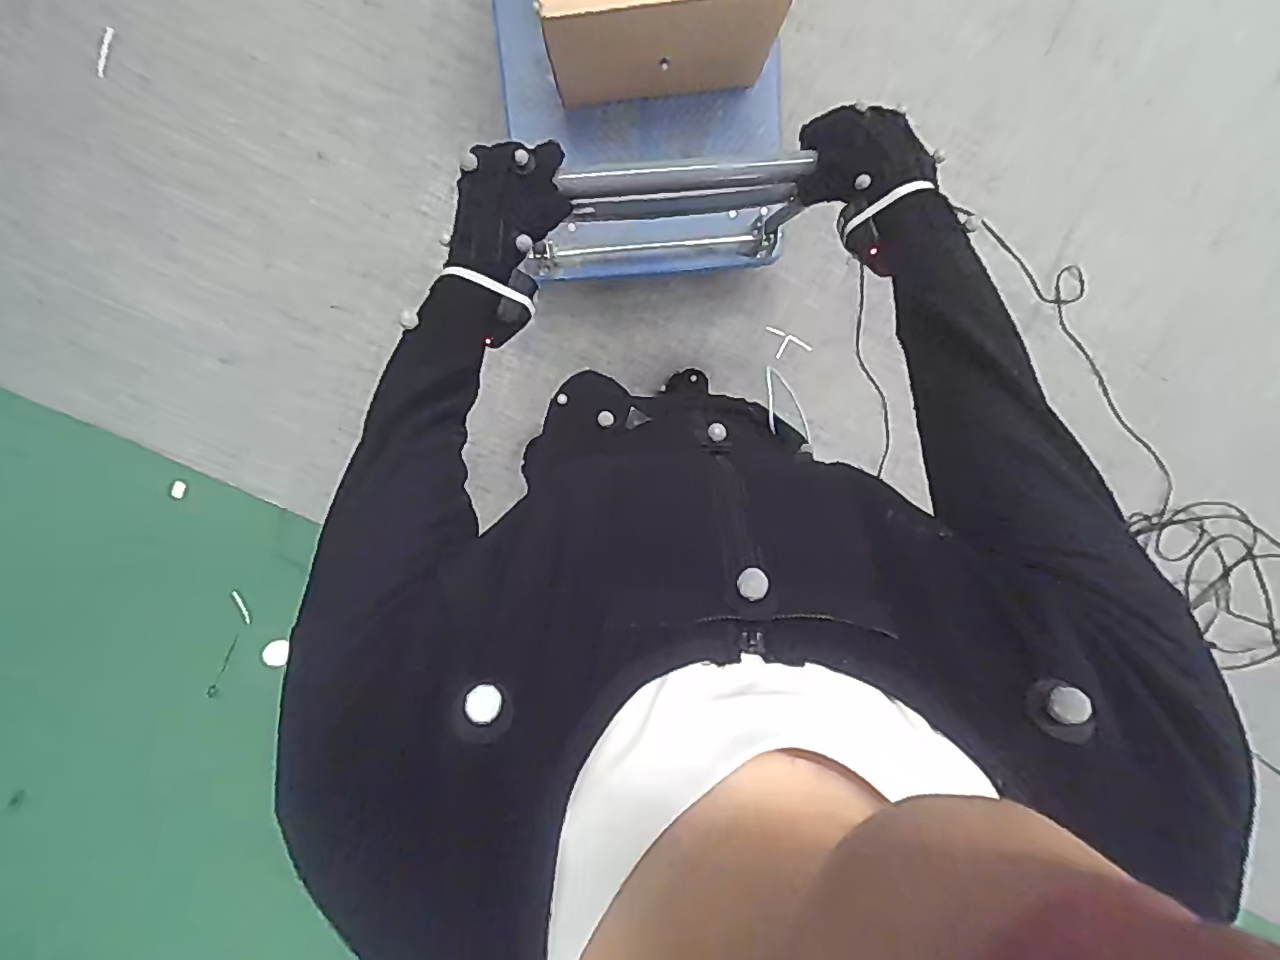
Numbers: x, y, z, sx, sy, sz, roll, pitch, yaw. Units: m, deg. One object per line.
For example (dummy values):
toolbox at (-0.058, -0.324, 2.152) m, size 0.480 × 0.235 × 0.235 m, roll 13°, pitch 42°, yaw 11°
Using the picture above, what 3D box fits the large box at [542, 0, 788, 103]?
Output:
large box at (0.027, -0.927, 0.949) m, size 0.408 × 0.320 × 0.320 m, roll -8°, pitch 102°, yaw 2°
